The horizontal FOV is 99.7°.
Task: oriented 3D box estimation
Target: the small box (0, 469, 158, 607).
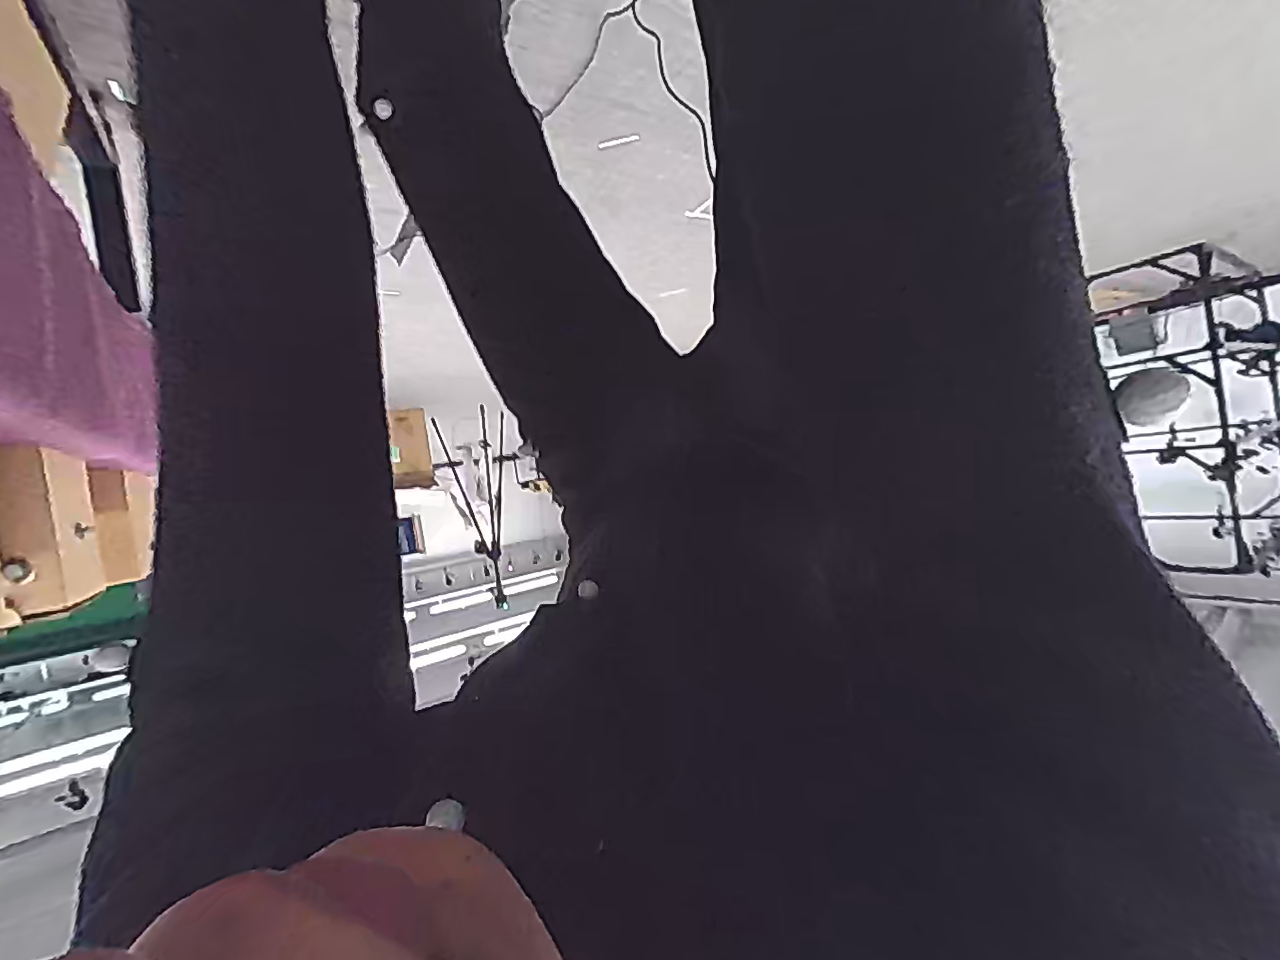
[{"bbox_3d":[-0.838,0.078,0.789,0.168,0.176,0.179,-10,-178,-33],"label":"small box"}]
